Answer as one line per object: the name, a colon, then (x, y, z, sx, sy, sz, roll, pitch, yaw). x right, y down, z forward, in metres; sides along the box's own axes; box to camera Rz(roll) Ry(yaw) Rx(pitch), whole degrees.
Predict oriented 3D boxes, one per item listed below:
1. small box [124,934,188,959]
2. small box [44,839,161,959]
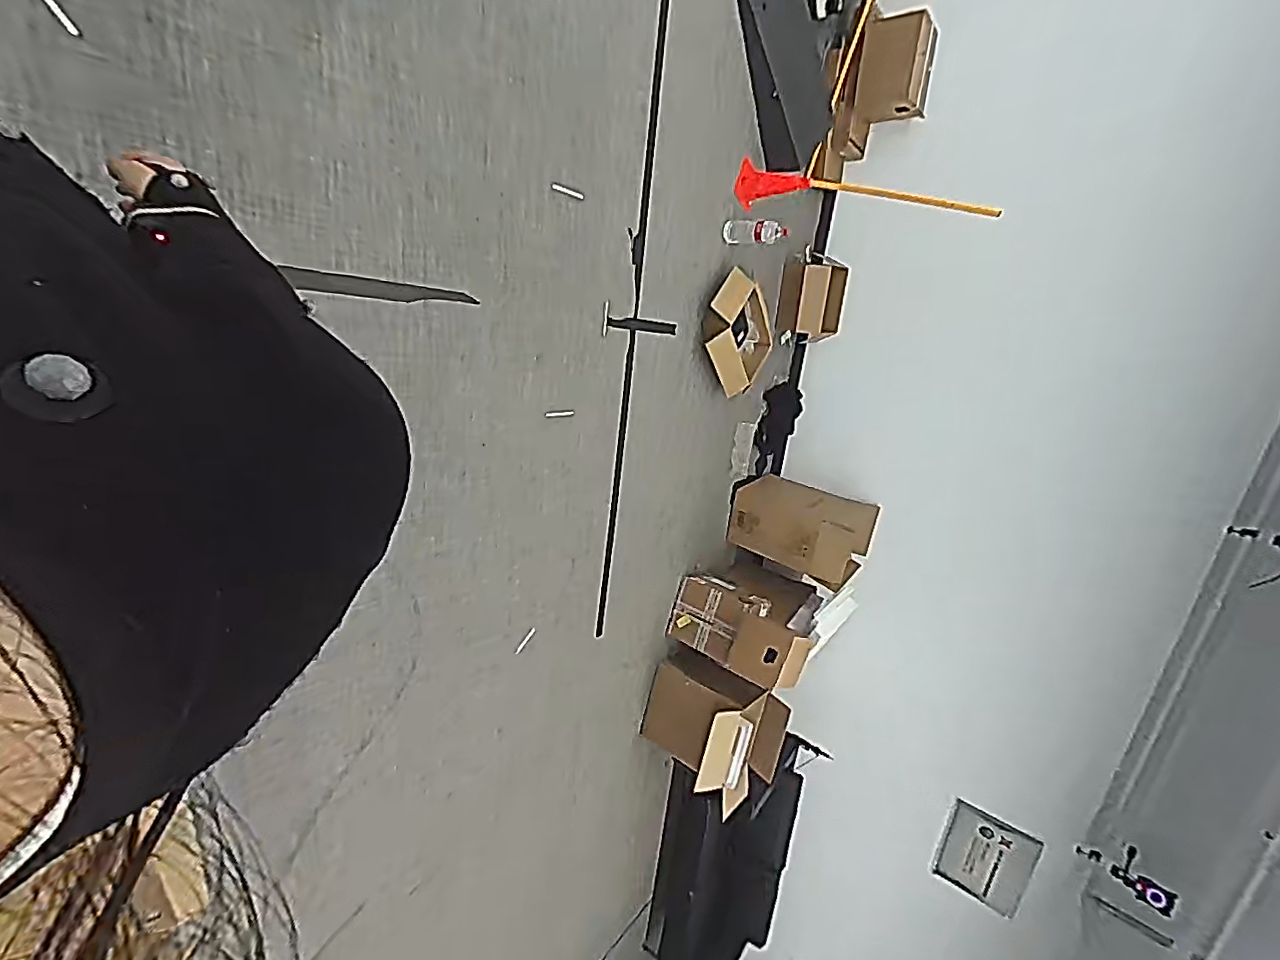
small box: (-1.001, 1.081, 1.083, 0.168, 0.176, 0.179, -15, 116, -51)
small box: (-1.258, 0.990, 1.267, 0.168, 0.176, 0.179, -11, 115, -51)
